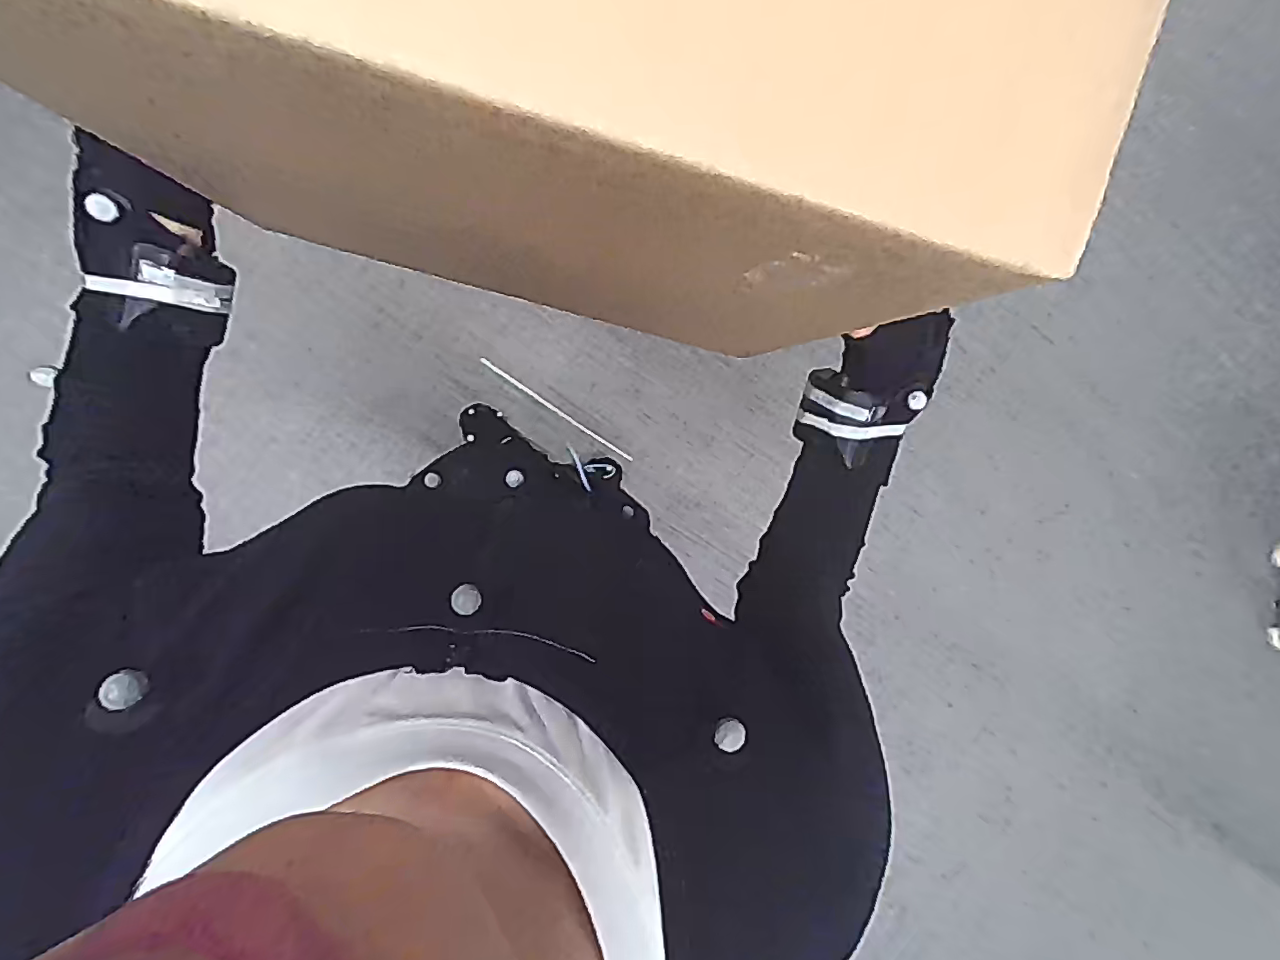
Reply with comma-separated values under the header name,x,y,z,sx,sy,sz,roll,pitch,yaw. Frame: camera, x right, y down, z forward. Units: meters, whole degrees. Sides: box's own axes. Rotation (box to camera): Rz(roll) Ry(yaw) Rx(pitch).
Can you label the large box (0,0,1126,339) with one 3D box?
name,x,y,z,sx,sy,sz,roll,pitch,yaw
large box,-0.040,-0.287,0.282,0.408,0.320,0.320,12,97,-11
